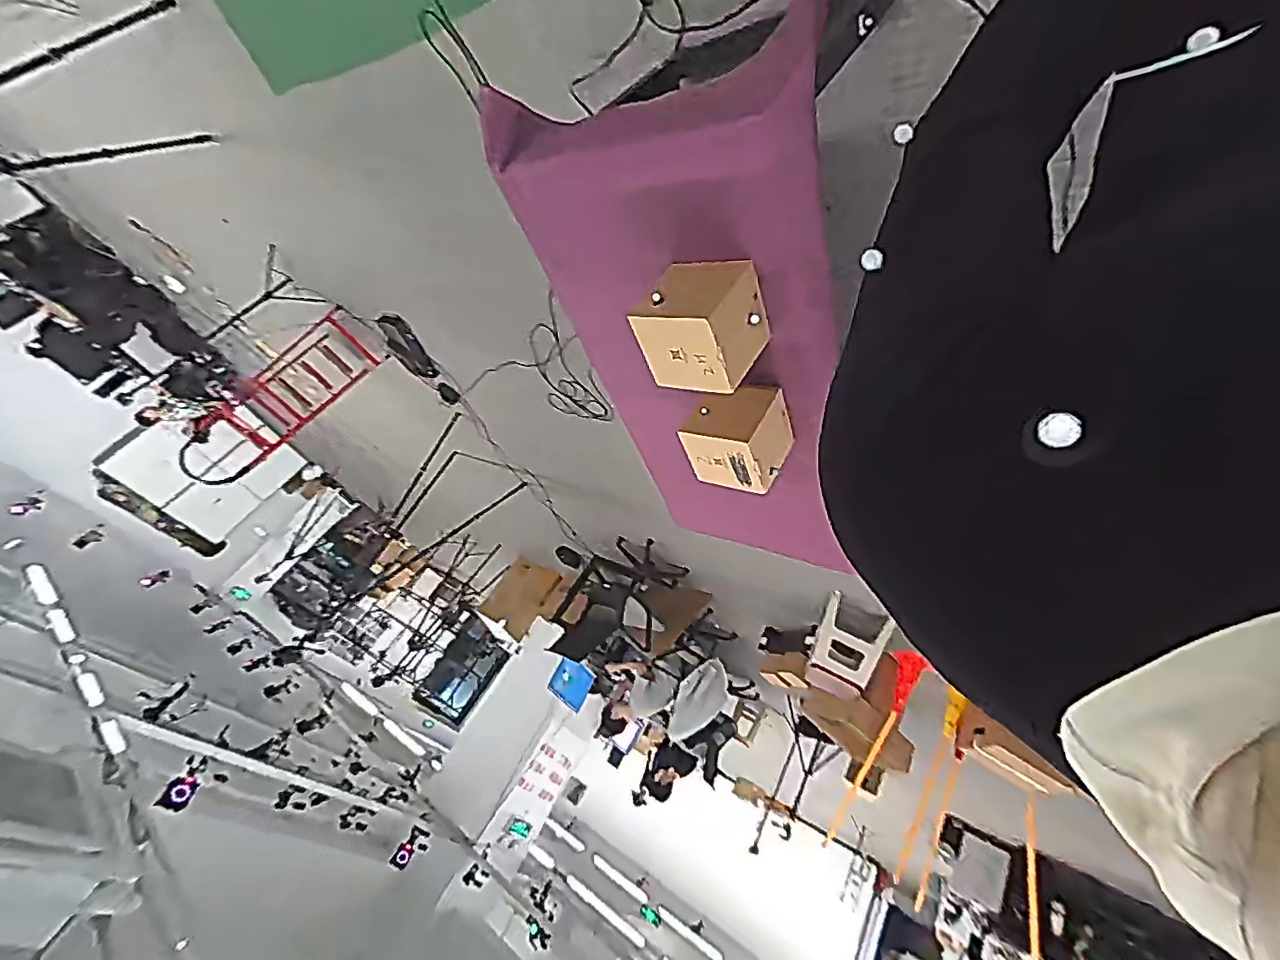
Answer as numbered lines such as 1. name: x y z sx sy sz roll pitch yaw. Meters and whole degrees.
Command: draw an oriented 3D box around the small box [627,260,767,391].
1. small box: 0.112 -0.290 1.006 0.179 0.176 0.168 14 148 36
